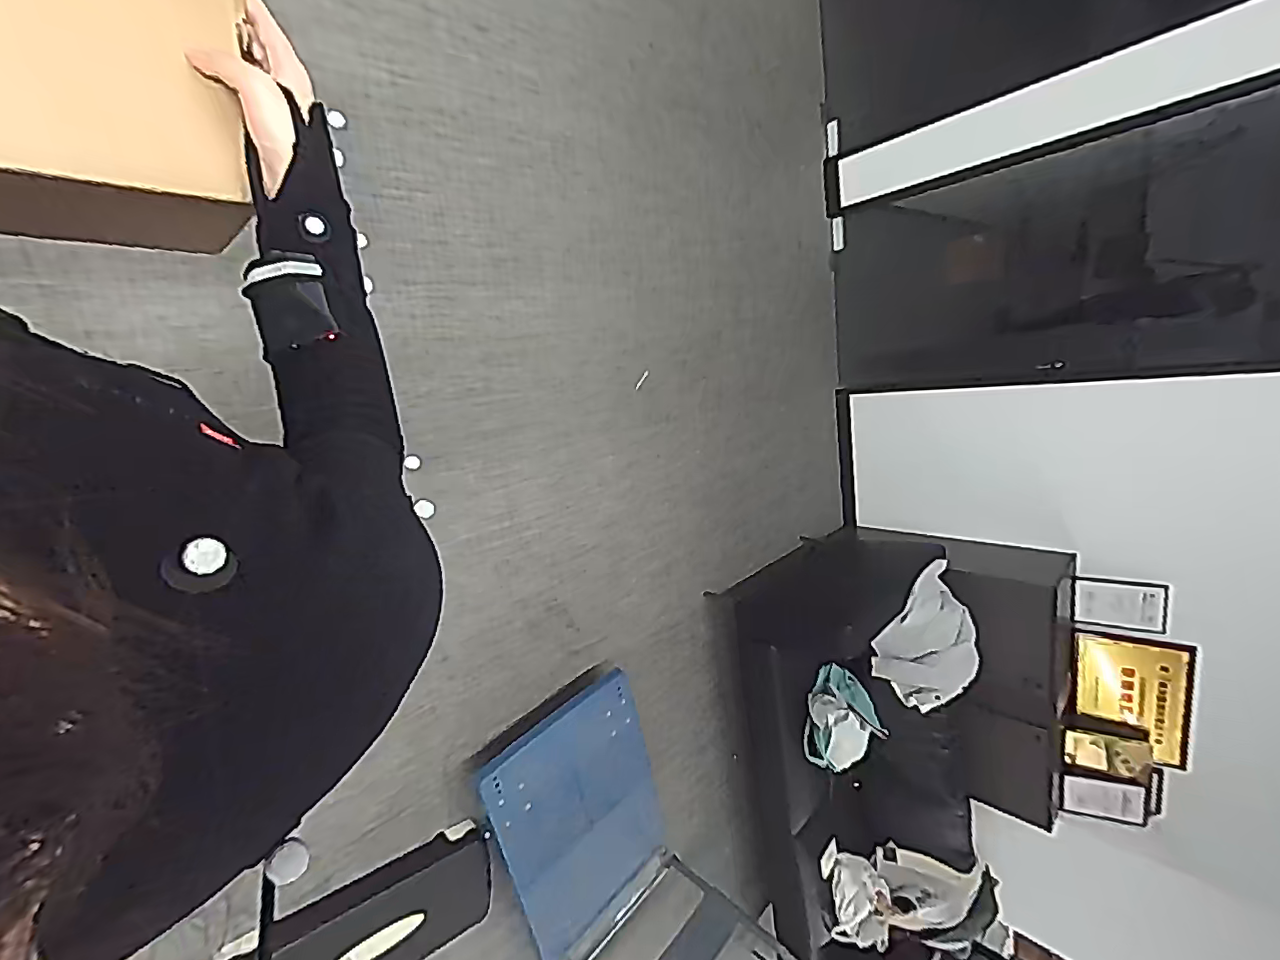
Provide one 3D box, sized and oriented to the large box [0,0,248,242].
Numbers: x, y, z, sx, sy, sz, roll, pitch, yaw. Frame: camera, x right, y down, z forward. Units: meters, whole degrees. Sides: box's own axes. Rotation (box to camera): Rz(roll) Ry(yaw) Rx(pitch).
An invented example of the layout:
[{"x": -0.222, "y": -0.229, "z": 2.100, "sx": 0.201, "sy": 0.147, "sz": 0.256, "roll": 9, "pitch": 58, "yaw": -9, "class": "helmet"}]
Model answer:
[{"x": -0.557, "y": -0.364, "z": 0.375, "sx": 0.408, "sy": 0.320, "sz": 0.320, "roll": -12, "pitch": 108, "yaw": -40, "class": "large box"}]
